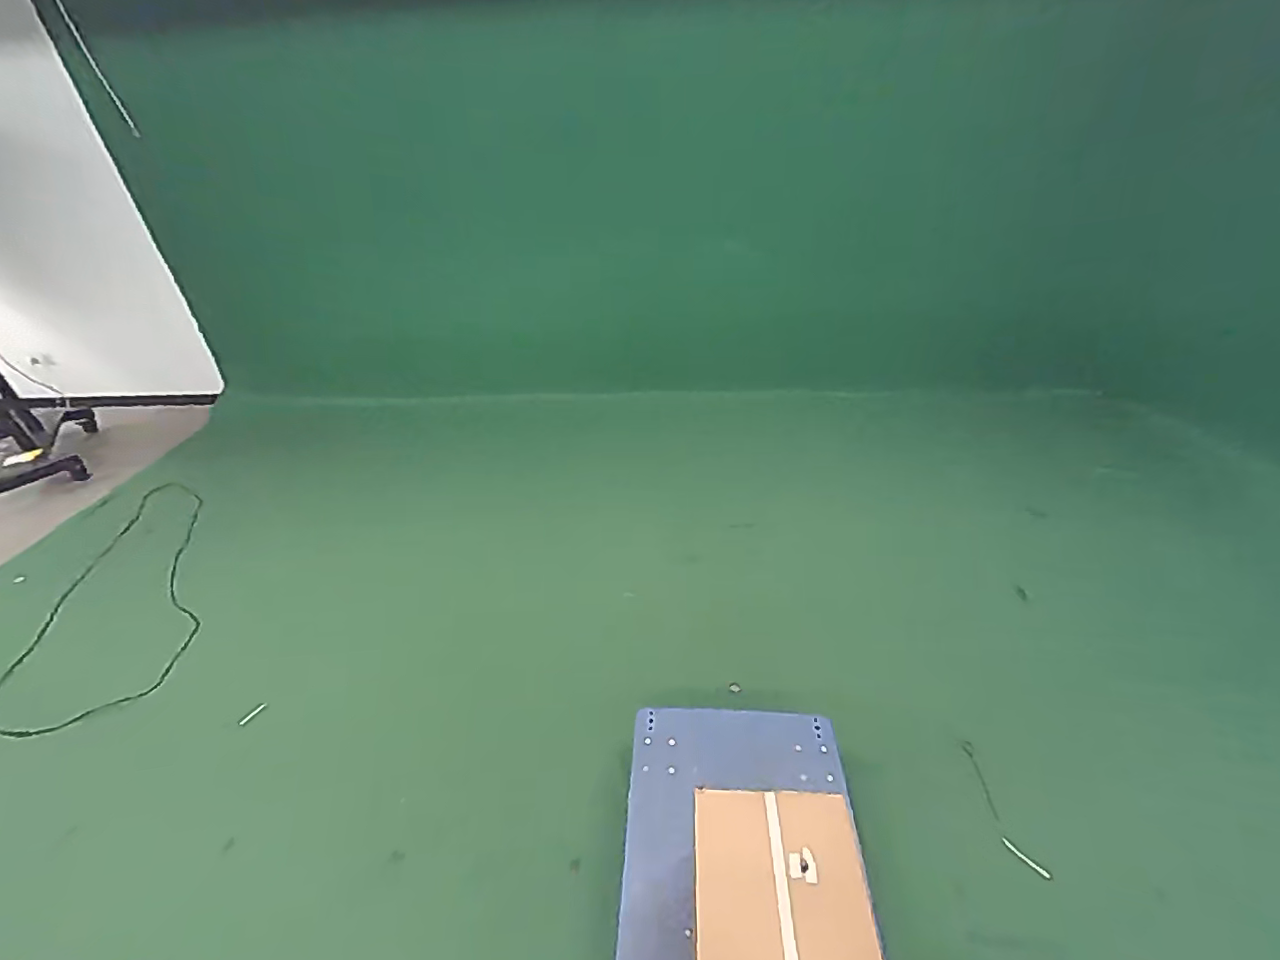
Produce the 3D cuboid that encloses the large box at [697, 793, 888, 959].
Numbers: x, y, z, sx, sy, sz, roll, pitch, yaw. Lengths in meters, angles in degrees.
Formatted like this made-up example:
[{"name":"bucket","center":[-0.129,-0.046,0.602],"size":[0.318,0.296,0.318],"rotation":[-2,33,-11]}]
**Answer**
[{"name":"large box","center":[0.270,0.890,1.038],"size":[0.320,0.320,0.408],"rotation":[1,33,4]}]
